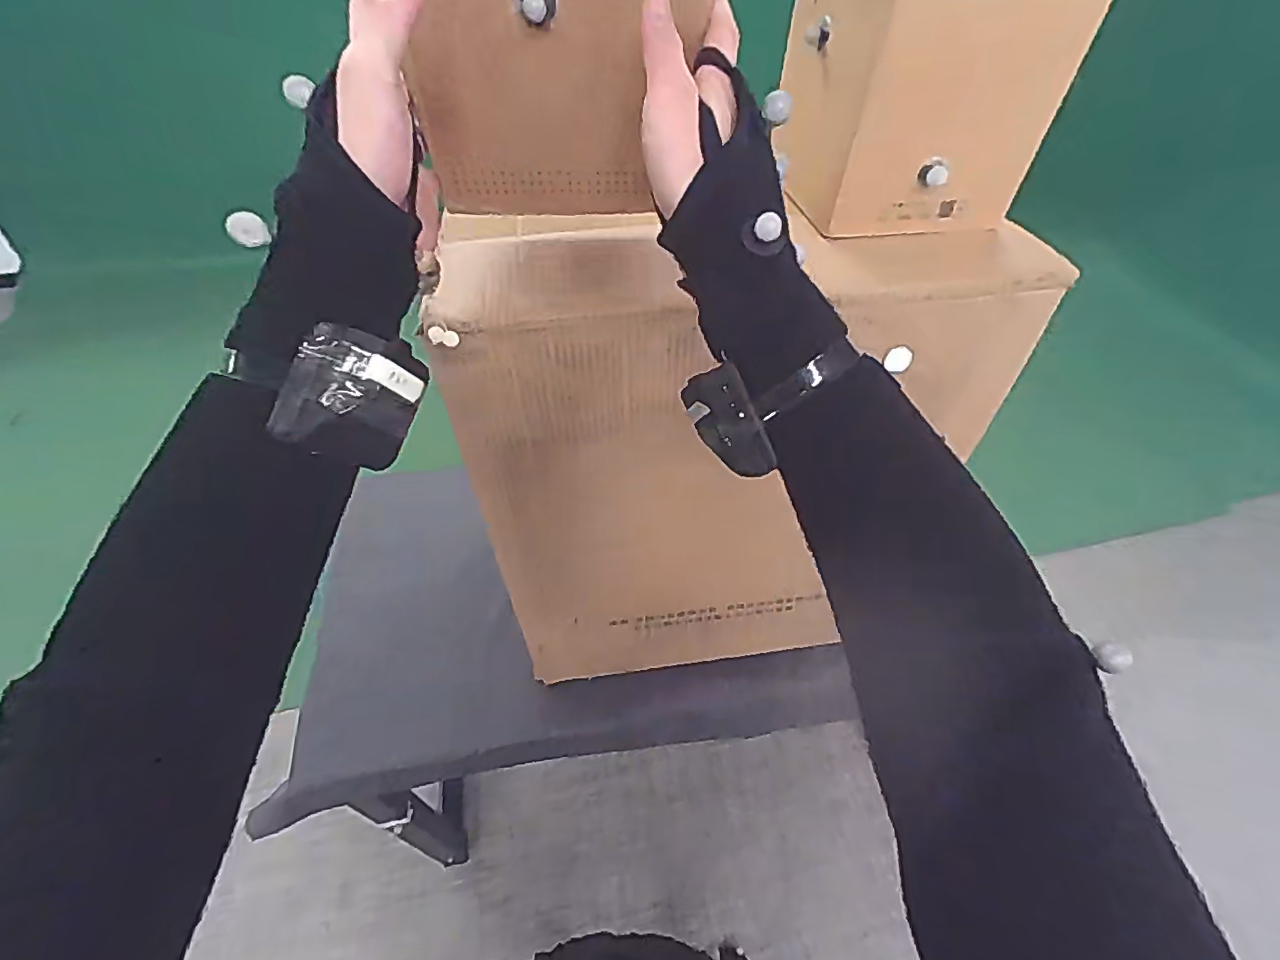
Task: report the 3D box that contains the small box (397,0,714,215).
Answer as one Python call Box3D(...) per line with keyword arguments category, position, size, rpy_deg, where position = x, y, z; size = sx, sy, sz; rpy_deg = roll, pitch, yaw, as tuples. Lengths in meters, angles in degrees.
Box3D(category="small box", position=(-0.048, -0.297, 0.351), size=(0.179, 0.176, 0.168), rpy_deg=(0, 64, -3))

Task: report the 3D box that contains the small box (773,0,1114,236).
Box3D(category="small box", position=(0.230, -0.333, 0.472), size=(0.168, 0.176, 0.179), rpy_deg=(-6, 49, -7))
